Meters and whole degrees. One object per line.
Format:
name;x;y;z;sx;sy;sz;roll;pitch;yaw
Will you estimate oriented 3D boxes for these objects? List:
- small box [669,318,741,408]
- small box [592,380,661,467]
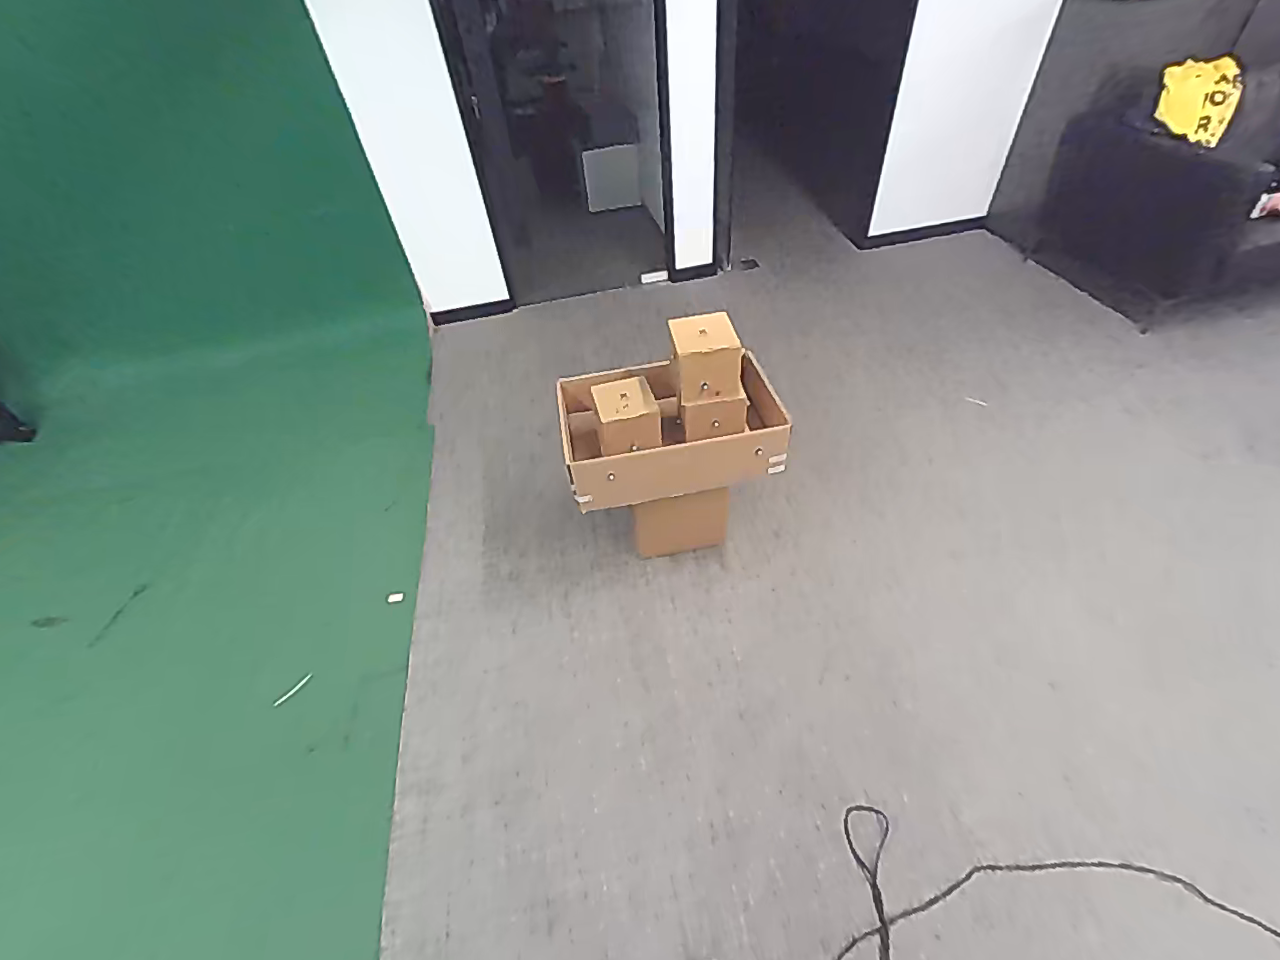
small box;0.176;-0.323;1.492;0.168;0.176;0.179;-9;45;-1
small box;-0.039;-0.166;1.586;0.168;0.176;0.179;-13;46;-7
